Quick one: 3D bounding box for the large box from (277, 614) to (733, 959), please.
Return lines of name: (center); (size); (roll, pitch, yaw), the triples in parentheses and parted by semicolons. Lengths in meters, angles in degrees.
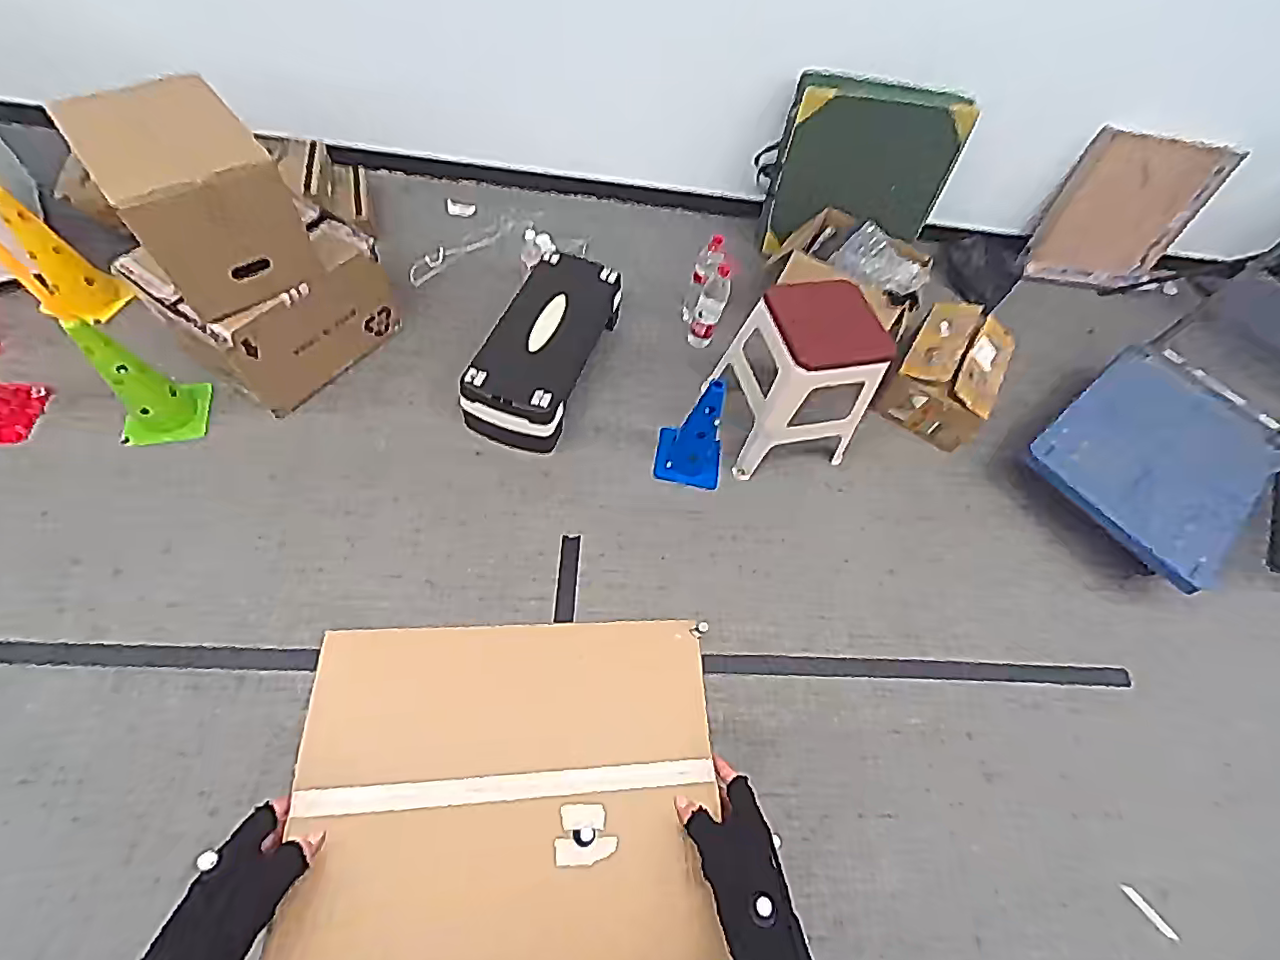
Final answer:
large box: (-0.142, 0.364, 0.667); (0.408, 0.320, 0.320); (1, 63, -10)
